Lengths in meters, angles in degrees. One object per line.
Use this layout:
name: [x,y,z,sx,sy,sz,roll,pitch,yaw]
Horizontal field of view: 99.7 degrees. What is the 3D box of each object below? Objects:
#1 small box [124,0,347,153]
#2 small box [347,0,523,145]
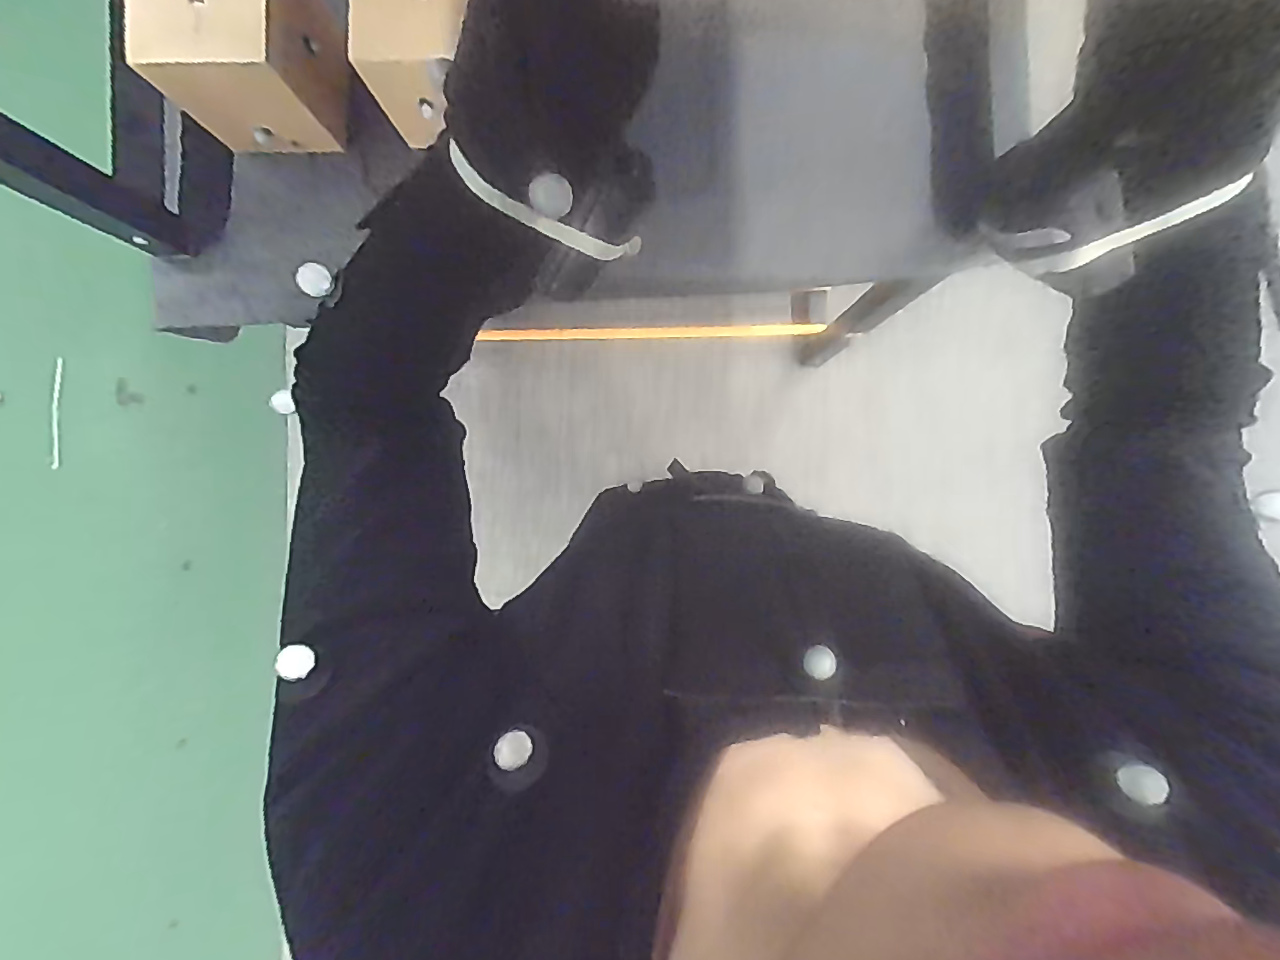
small box: [-0.504,-0.561,0.699,0.168,0.176,0.179,0,89,1]
small box: [-0.251,-0.564,0.699,0.168,0.176,0.179,0,89,1]
